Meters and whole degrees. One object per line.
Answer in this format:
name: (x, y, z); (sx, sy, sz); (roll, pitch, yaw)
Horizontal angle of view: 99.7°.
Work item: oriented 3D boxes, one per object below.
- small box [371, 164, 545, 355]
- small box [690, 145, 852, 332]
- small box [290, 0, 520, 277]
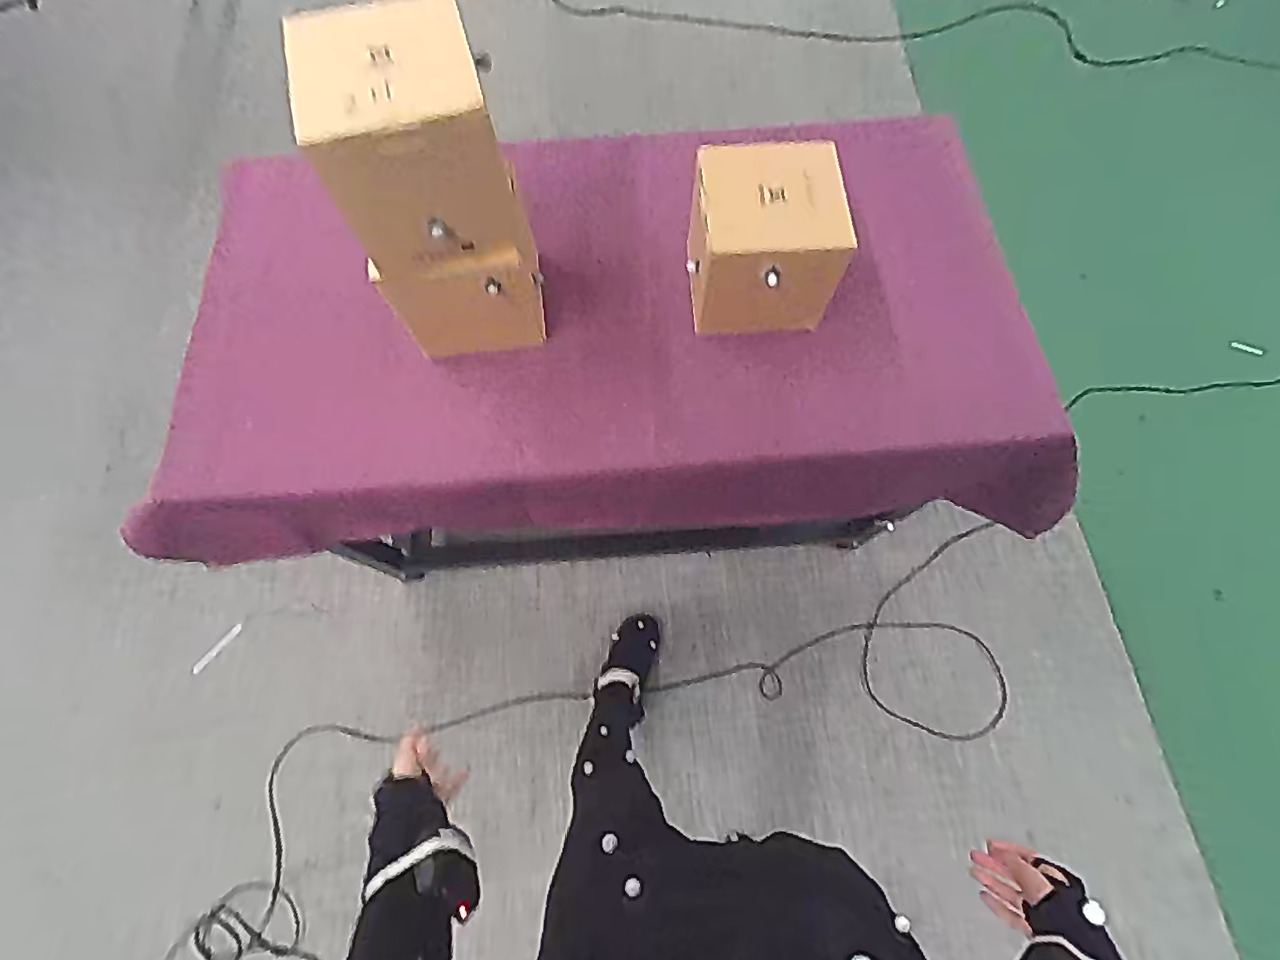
small box: (-0.234, -0.286, 0.729); (0.179, 0.176, 0.168); (-8, 70, -3)
small box: (0.160, -0.316, 0.731); (0.179, 0.176, 0.168); (-2, 70, -1)
small box: (-0.239, -0.354, 0.578); (0.168, 0.176, 0.179); (-16, 70, -5)
